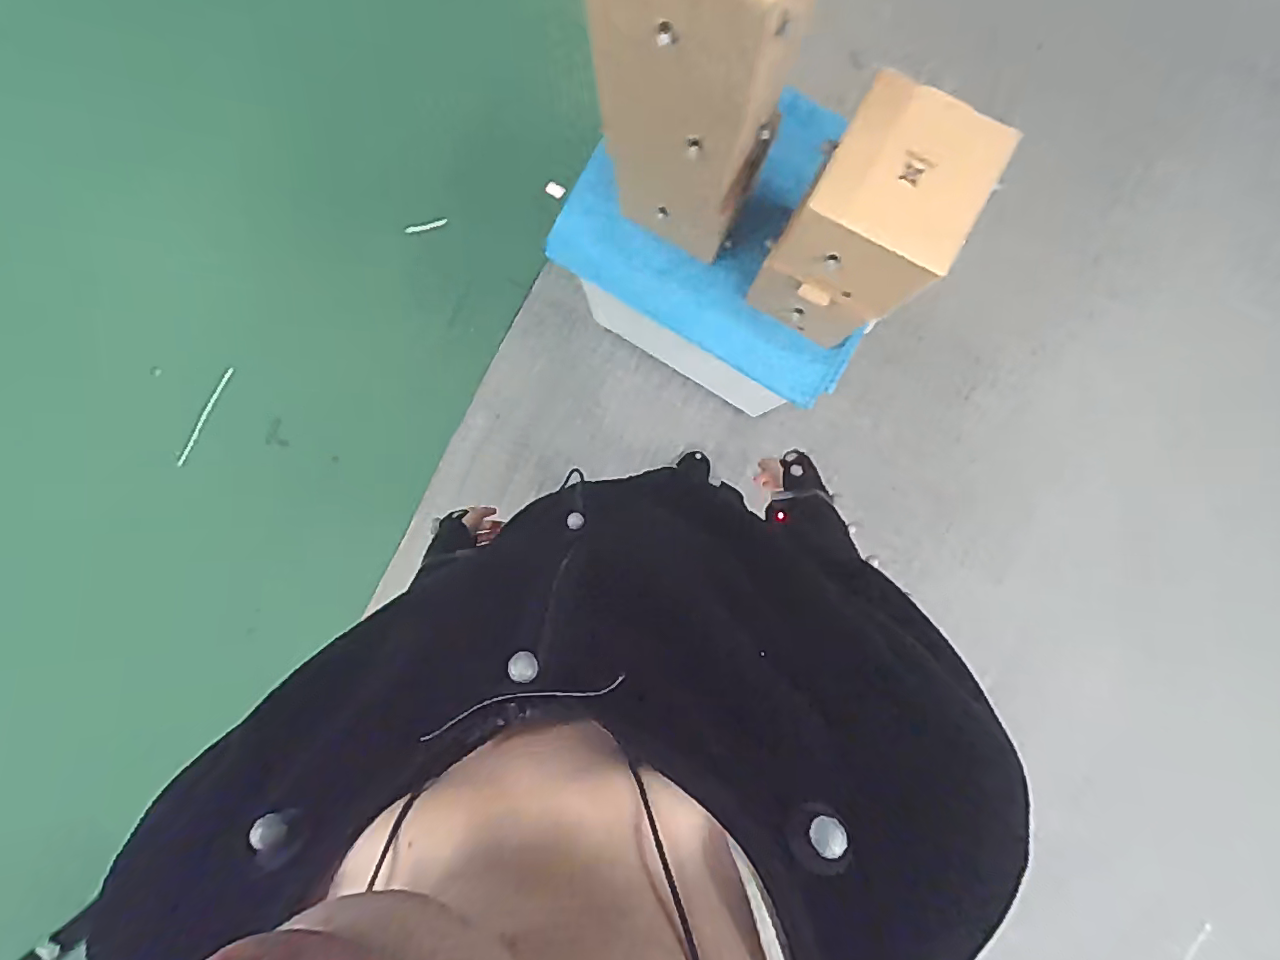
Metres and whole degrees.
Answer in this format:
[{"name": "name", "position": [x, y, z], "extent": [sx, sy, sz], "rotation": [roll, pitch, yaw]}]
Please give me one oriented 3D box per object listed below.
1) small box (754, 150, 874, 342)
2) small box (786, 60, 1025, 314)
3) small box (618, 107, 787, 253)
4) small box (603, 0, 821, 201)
[{"name": "small box", "position": [0.287, -0.331, 0.807], "extent": [0.168, 0.176, 0.179], "rotation": [30, 91, 0]}, {"name": "small box", "position": [0.293, -0.326, 0.644], "extent": [0.168, 0.176, 0.179], "rotation": [28, 89, 1]}, {"name": "small box", "position": [0.085, -0.468, 0.806], "extent": [0.179, 0.176, 0.168], "rotation": [30, 91, 0]}, {"name": "small box", "position": [0.075, -0.469, 0.641], "extent": [0.179, 0.176, 0.168], "rotation": [30, 91, 0]}]
